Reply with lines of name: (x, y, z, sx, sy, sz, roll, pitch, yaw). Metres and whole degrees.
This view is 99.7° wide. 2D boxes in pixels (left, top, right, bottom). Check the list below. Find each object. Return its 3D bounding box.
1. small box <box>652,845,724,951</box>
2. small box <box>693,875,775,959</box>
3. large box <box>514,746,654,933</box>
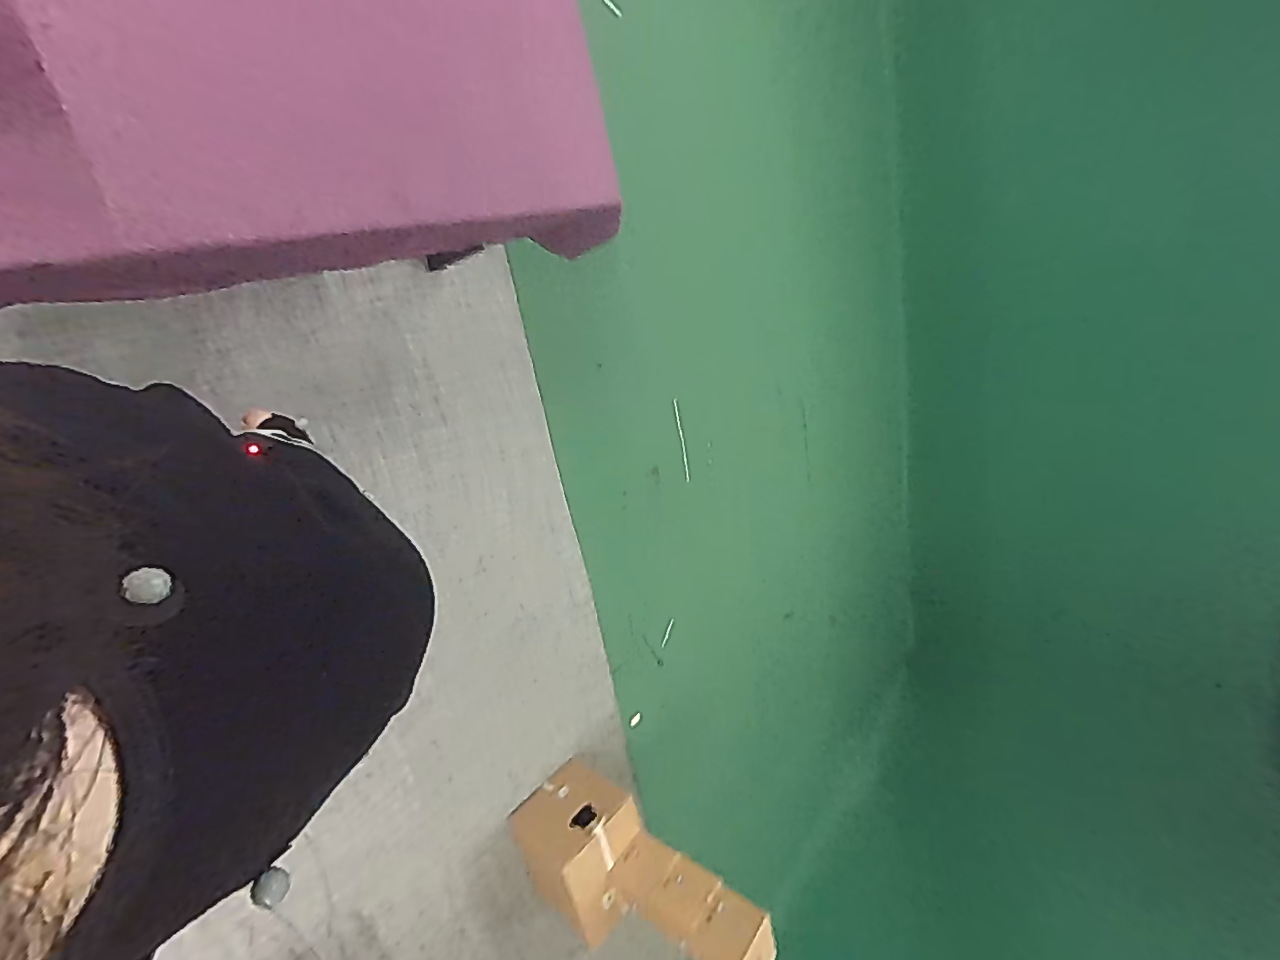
small box: (0.161, 1.317, 1.719, 0.168, 0.176, 0.179, -31, 115, -42)
small box: (0.279, 1.337, 1.608, 0.168, 0.176, 0.179, -29, 113, -43)
large box: (-0.196, 1.261, 1.932, 0.320, 0.320, 0.408, -29, 116, -40)
